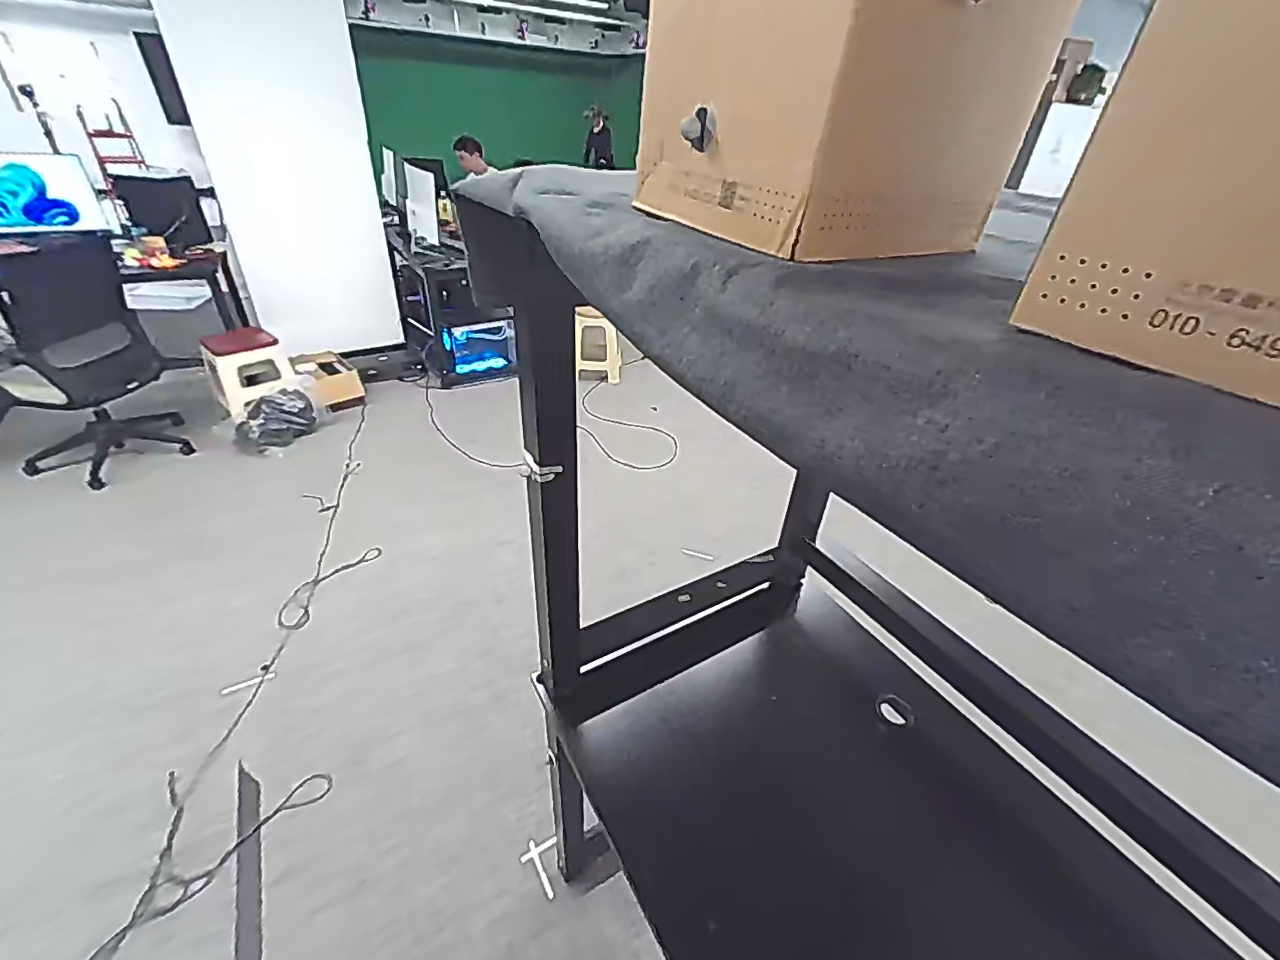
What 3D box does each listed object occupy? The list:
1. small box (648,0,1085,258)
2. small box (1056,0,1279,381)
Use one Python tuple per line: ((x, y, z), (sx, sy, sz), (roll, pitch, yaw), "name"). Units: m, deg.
((0.121, -0.243, 0.330), (0.179, 0.176, 0.168), (-16, 40, -29), "small box")
((0.263, -0.108, 0.140), (0.179, 0.176, 0.168), (-13, 37, -27), "small box")
